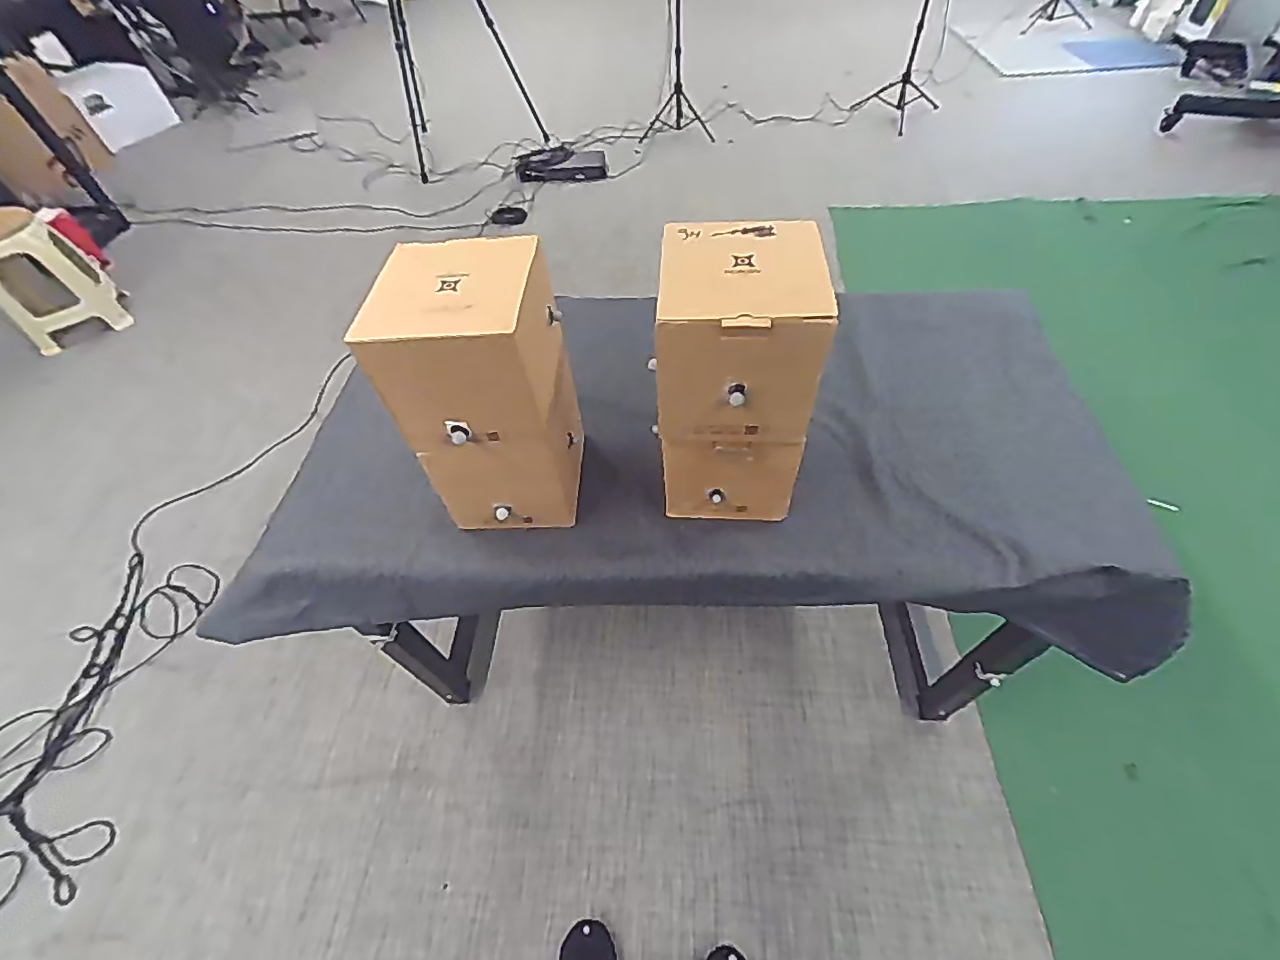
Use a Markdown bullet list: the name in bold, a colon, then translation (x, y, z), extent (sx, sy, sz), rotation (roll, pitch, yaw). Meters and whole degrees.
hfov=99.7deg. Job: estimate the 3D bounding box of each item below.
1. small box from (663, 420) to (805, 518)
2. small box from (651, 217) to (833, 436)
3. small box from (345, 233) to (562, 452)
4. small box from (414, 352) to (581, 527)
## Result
- **small box**: translation (0.117, -0.069, 0.730), extent (0.168, 0.176, 0.179), rotation (1, 53, 5)
- **small box**: translation (0.104, -0.163, 0.597), extent (0.168, 0.176, 0.179), rotation (1, 54, 5)
- **small box**: translation (-0.187, -0.151, 0.609), extent (0.168, 0.176, 0.179), rotation (-2, 53, 4)
- **small box**: translation (-0.177, -0.053, 0.738), extent (0.168, 0.176, 0.179), rotation (-2, 53, 3)
